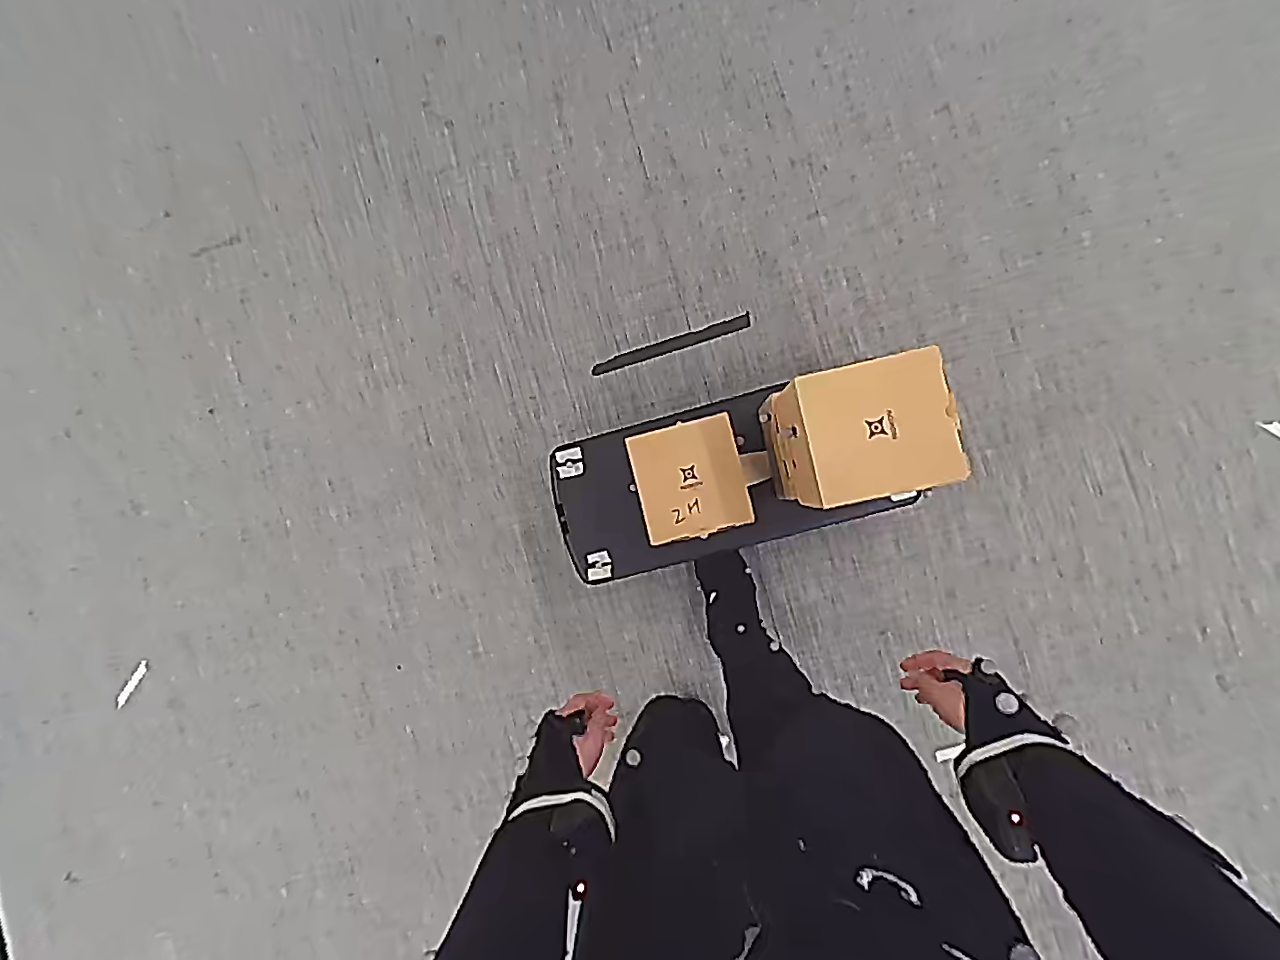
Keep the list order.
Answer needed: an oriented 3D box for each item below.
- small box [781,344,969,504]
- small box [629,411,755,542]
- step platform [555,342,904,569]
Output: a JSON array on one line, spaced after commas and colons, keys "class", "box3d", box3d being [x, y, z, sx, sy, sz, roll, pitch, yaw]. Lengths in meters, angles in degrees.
[{"class": "small box", "box3d": [0.295, -0.064, 0.724, 0.179, 0.176, 0.168, -13, 88, 5]}, {"class": "small box", "box3d": [0.086, -0.003, 0.910, 0.168, 0.176, 0.179, -14, 88, 6]}, {"class": "step platform", "box3d": [0.179, -0.039, 1.075, 0.684, 0.204, 0.286, -16, 87, 6]}]
